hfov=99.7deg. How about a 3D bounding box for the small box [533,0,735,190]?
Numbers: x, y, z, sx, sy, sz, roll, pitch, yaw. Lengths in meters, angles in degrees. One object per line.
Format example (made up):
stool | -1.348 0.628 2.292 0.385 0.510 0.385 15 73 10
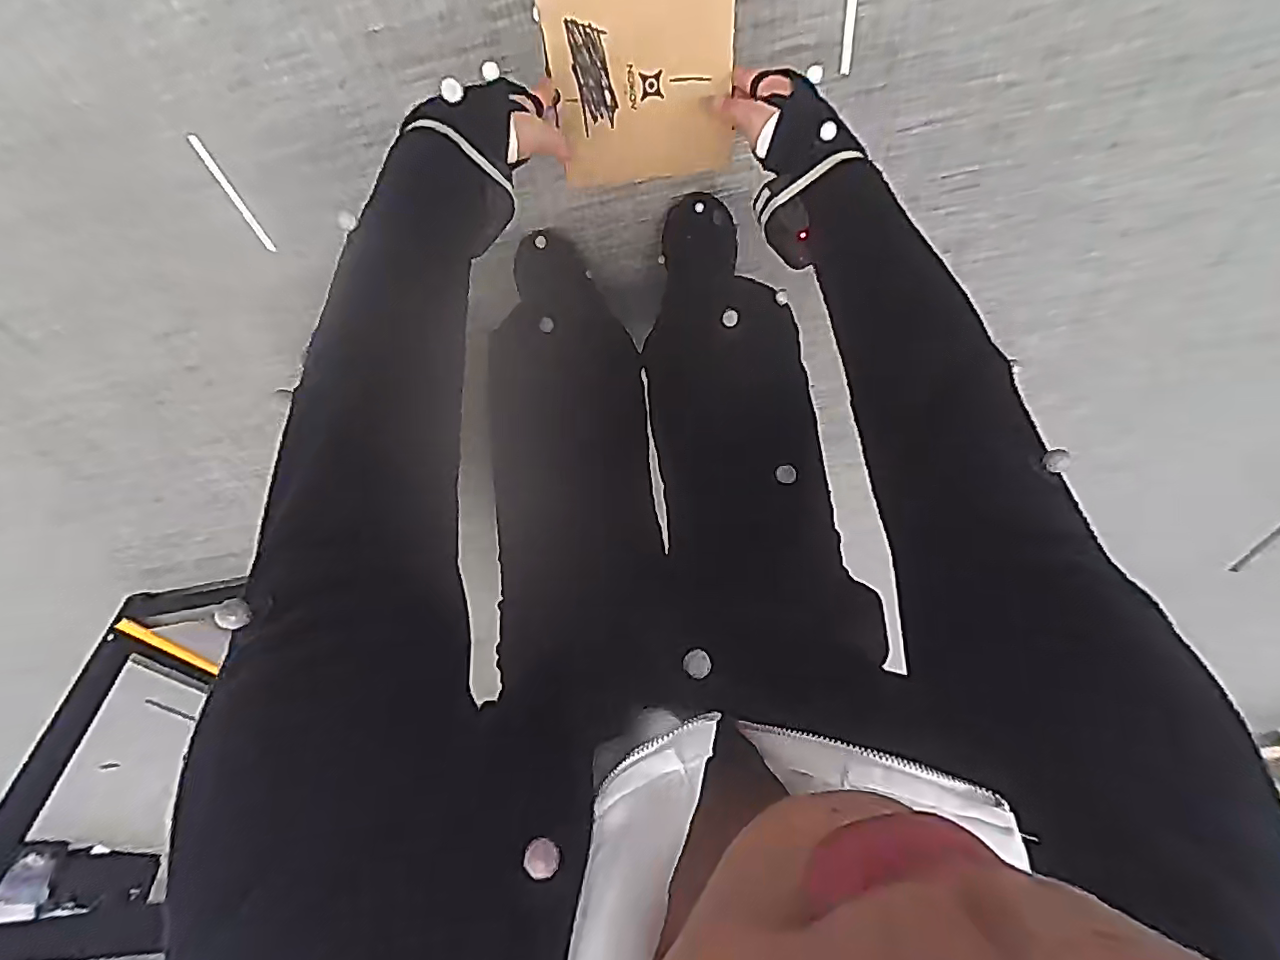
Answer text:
small box | -0.005 -0.425 0.567 0.179 0.176 0.168 -7 135 0
